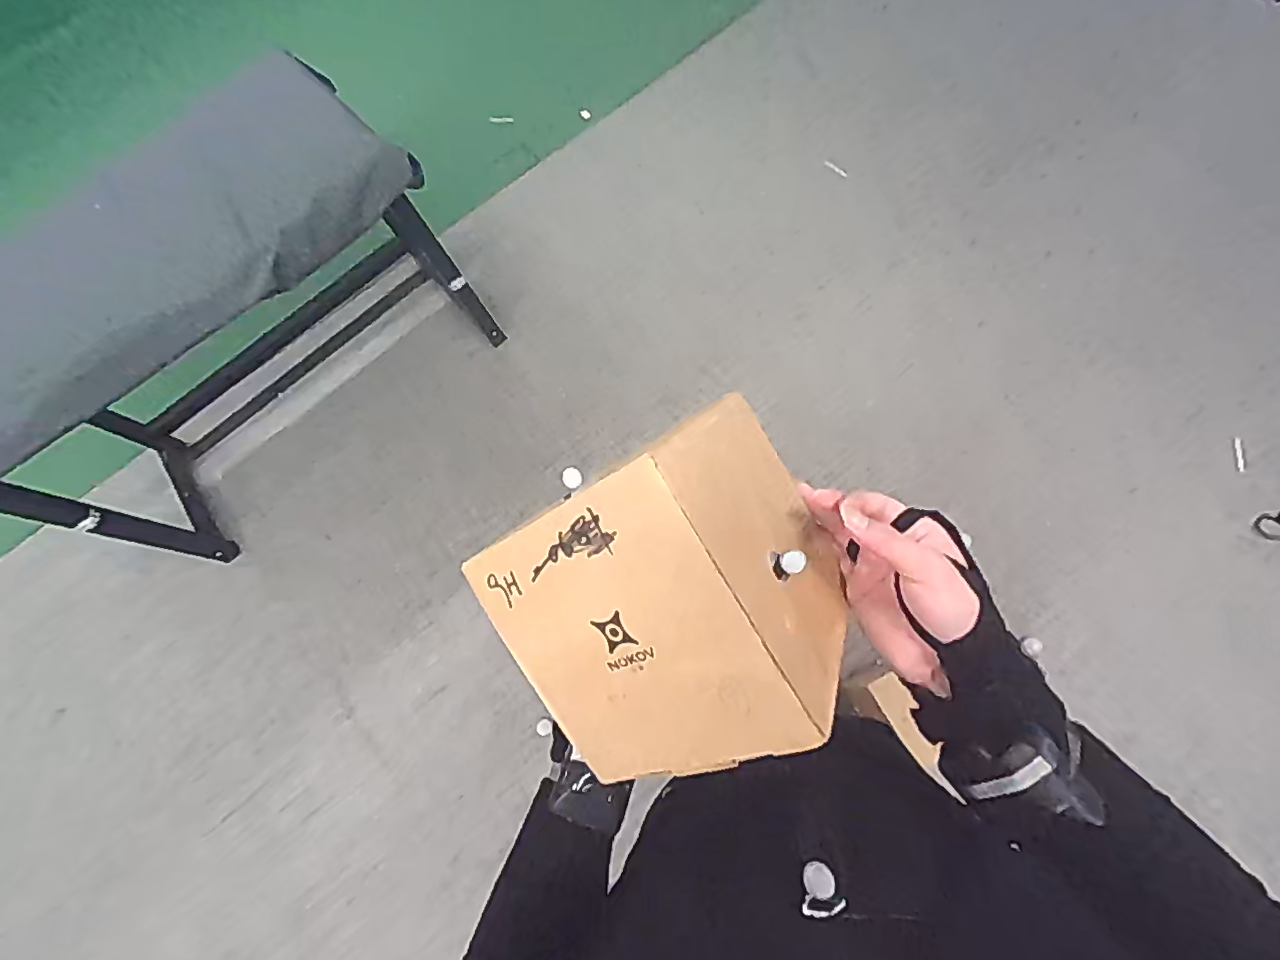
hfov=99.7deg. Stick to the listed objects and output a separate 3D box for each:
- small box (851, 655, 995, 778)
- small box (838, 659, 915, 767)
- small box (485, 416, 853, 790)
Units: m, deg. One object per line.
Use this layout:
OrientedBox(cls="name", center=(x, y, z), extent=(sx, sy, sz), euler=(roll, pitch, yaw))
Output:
OrientedBox(cls="small box", center=(0.560, 0.474, 1.099), extent=(0.179, 0.176, 0.168), euler=(-27, 66, -1))
OrientedBox(cls="small box", center=(0.586, 0.532, 1.250), extent=(0.179, 0.176, 0.168), euler=(-29, 66, -1))
OrientedBox(cls="small box", center=(0.035, 0.078, 0.387), extent=(0.168, 0.176, 0.179), euler=(-30, 95, 31))
